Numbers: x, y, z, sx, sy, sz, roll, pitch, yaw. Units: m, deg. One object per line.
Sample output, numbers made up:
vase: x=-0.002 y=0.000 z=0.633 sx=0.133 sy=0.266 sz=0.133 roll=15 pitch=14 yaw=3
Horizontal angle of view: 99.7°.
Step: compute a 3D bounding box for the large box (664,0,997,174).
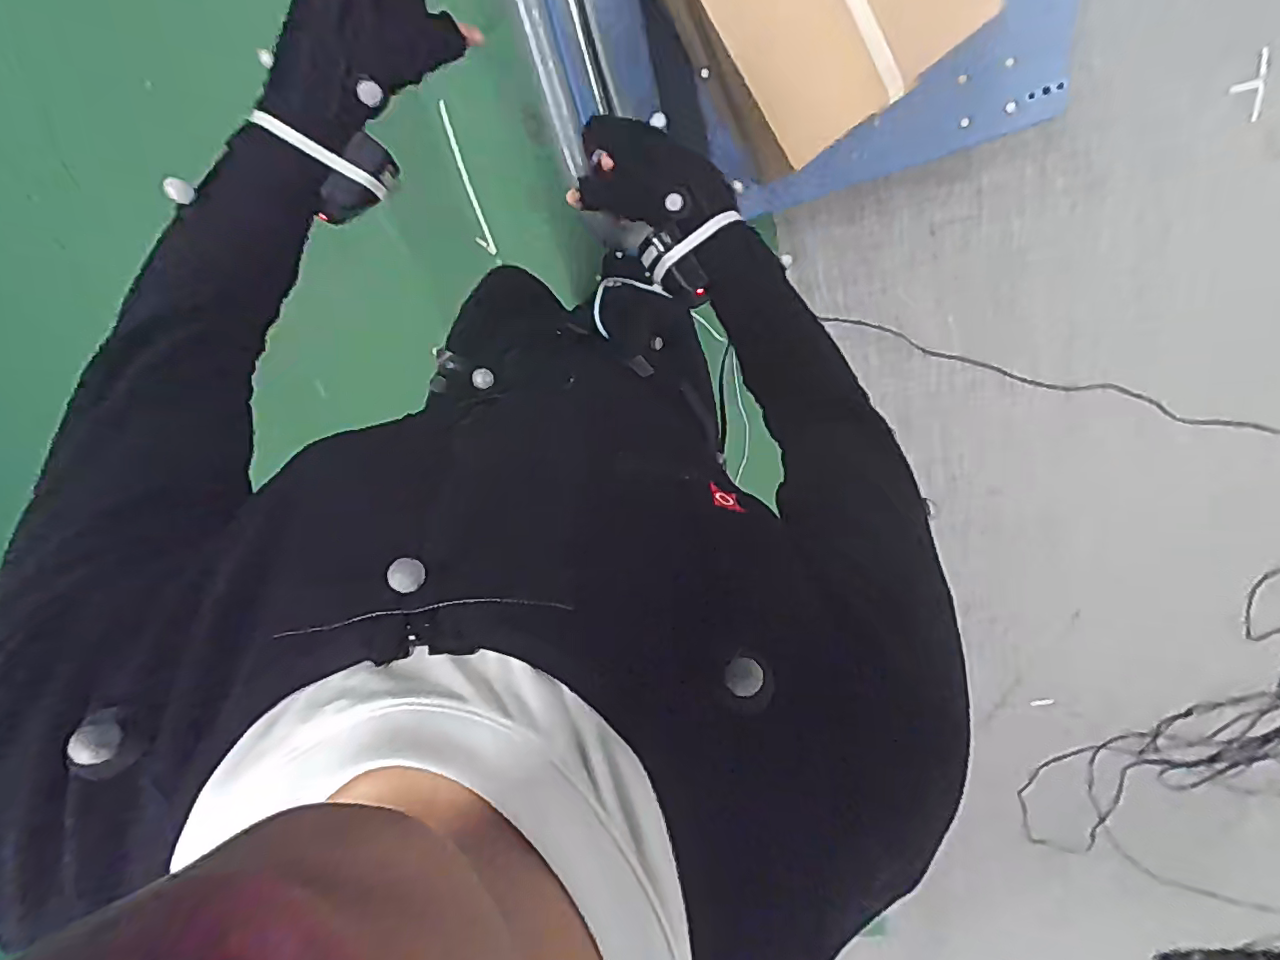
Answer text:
large box: x=0.236 y=-0.749 z=0.815 sx=0.320 sy=0.320 sz=0.408 roll=-32 pitch=110 yaw=17
